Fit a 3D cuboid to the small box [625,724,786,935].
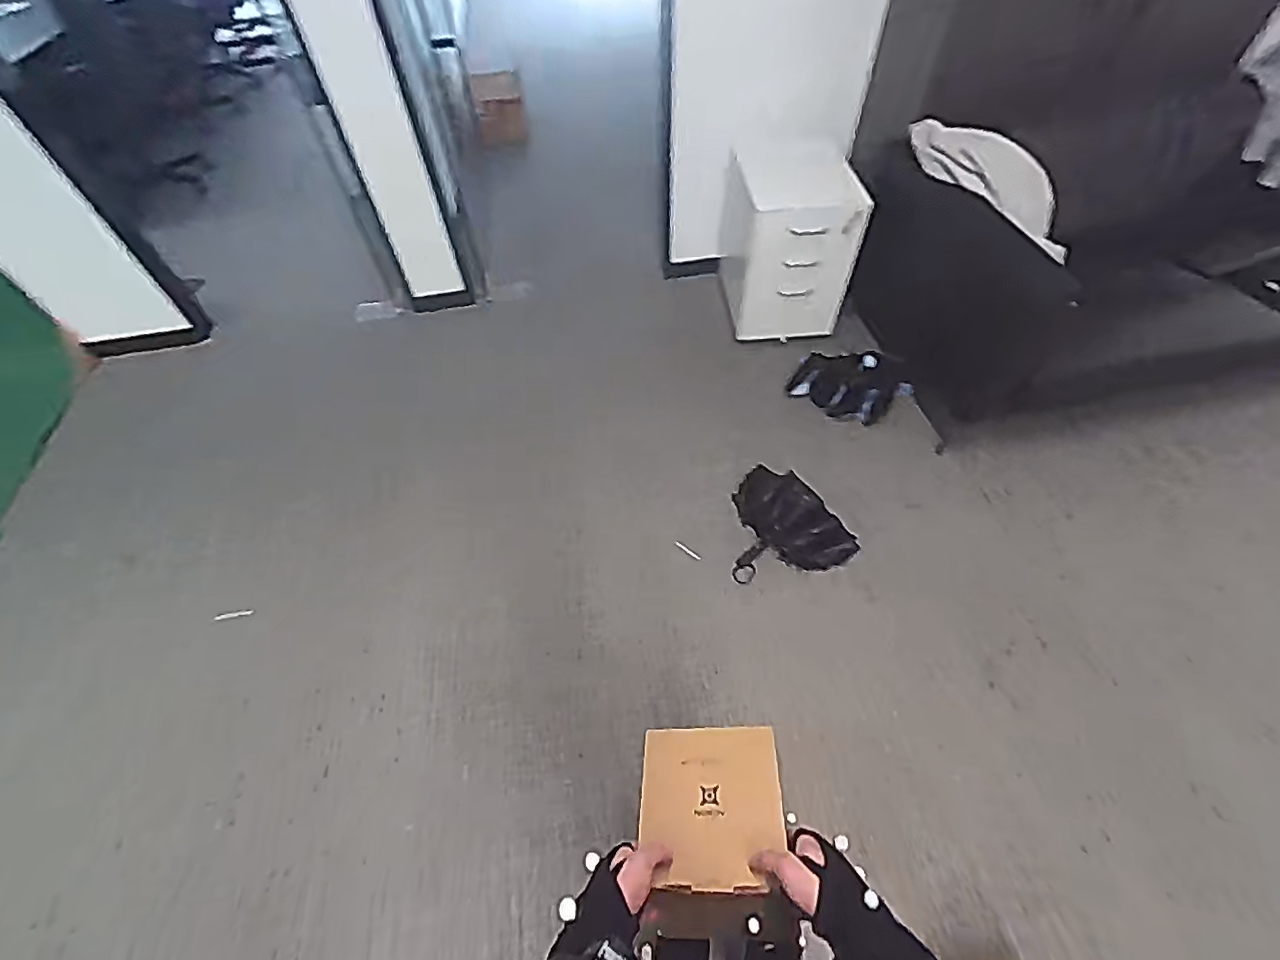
[{"bbox_3d":[0.086,0.432,0.671,0.168,0.176,0.179,-6,34,10],"label":"small box"}]
